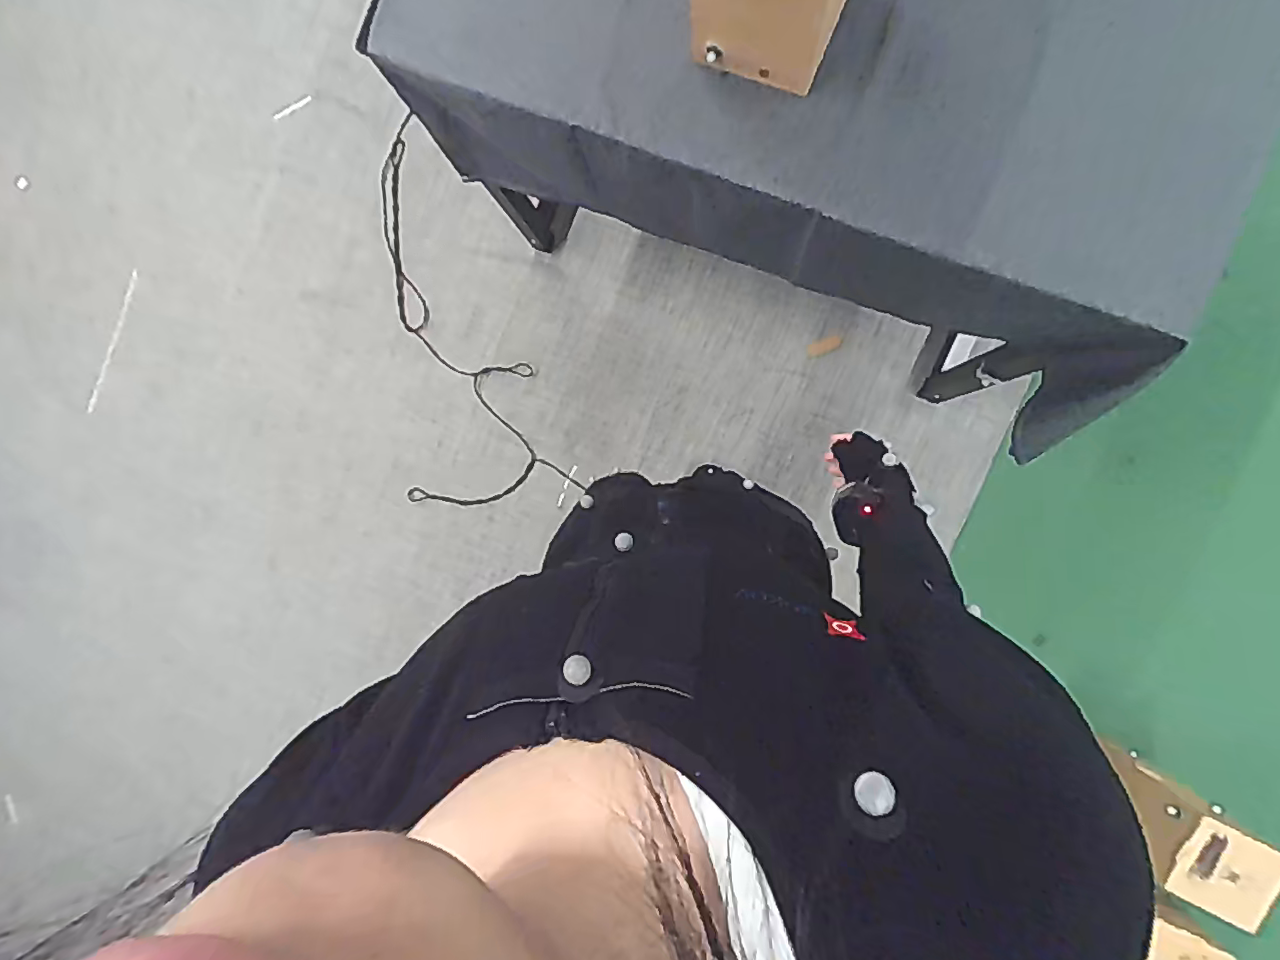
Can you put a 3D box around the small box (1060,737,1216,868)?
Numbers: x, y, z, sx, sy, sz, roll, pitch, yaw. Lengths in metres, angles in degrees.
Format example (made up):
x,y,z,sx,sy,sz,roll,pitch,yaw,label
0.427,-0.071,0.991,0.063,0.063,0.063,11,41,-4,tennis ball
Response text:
x,y,z,sx,sy,sz,roll,pitch,yaw,label
1.143,0.736,1.261,0.179,0.176,0.168,28,94,7,small box

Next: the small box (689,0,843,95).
x,y,z,sx,sy,sz,roll,pitch,yaw,label
0.165,-0.620,0.655,0.168,0.176,0.179,23,92,7,small box
